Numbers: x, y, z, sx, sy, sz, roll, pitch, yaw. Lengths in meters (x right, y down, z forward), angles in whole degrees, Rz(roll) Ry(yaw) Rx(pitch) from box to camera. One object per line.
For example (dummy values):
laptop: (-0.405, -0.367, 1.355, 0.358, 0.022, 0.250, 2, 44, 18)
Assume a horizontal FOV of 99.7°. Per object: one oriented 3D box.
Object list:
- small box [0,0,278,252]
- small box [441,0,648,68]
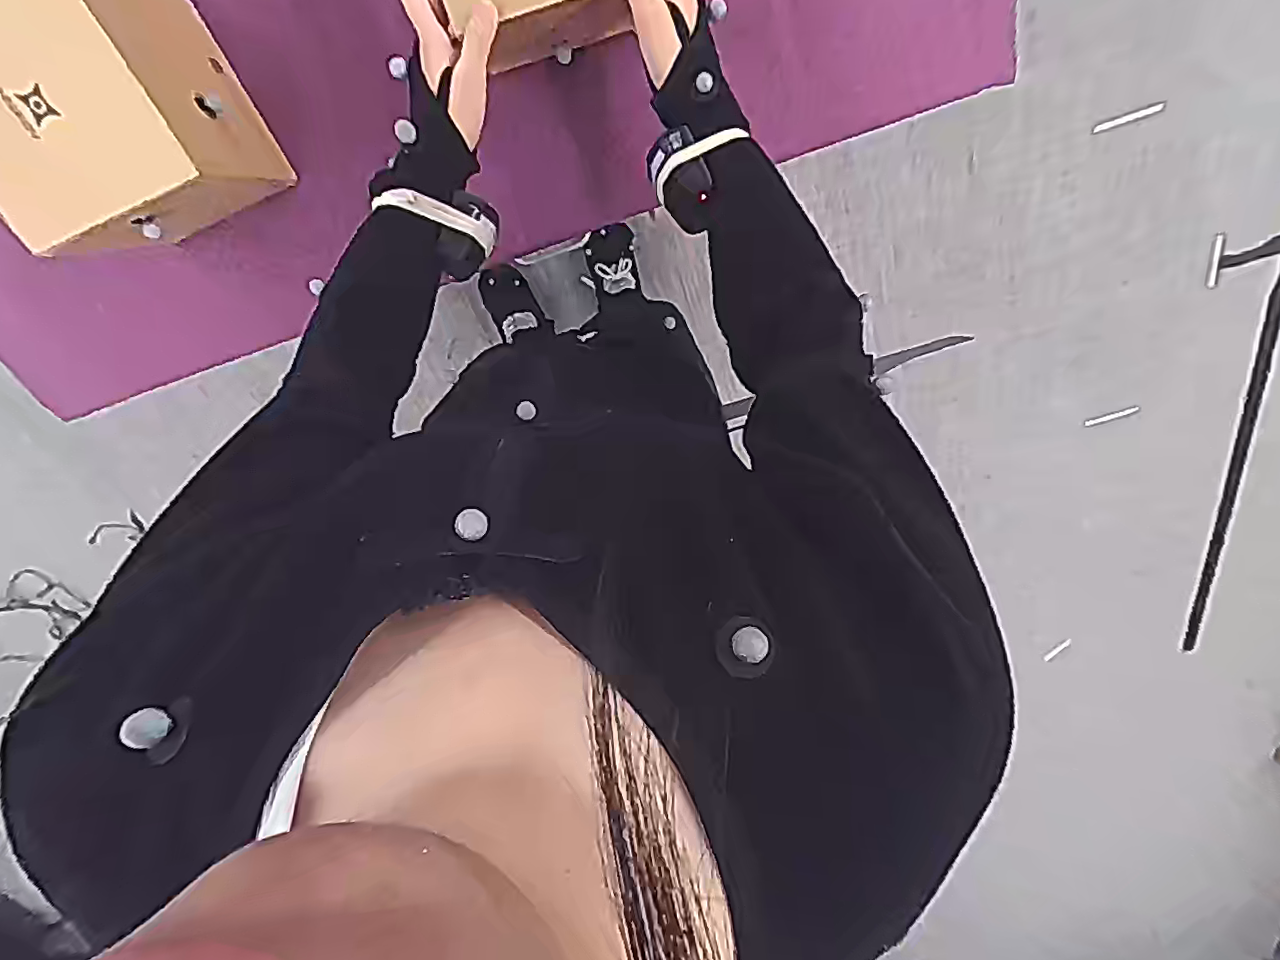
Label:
small box: (-0.472, -0.328, 0.487, 0.179, 0.176, 0.168, -20, 118, 7)
small box: (-0.090, -0.469, 0.435, 0.168, 0.176, 0.179, -14, 120, 4)
